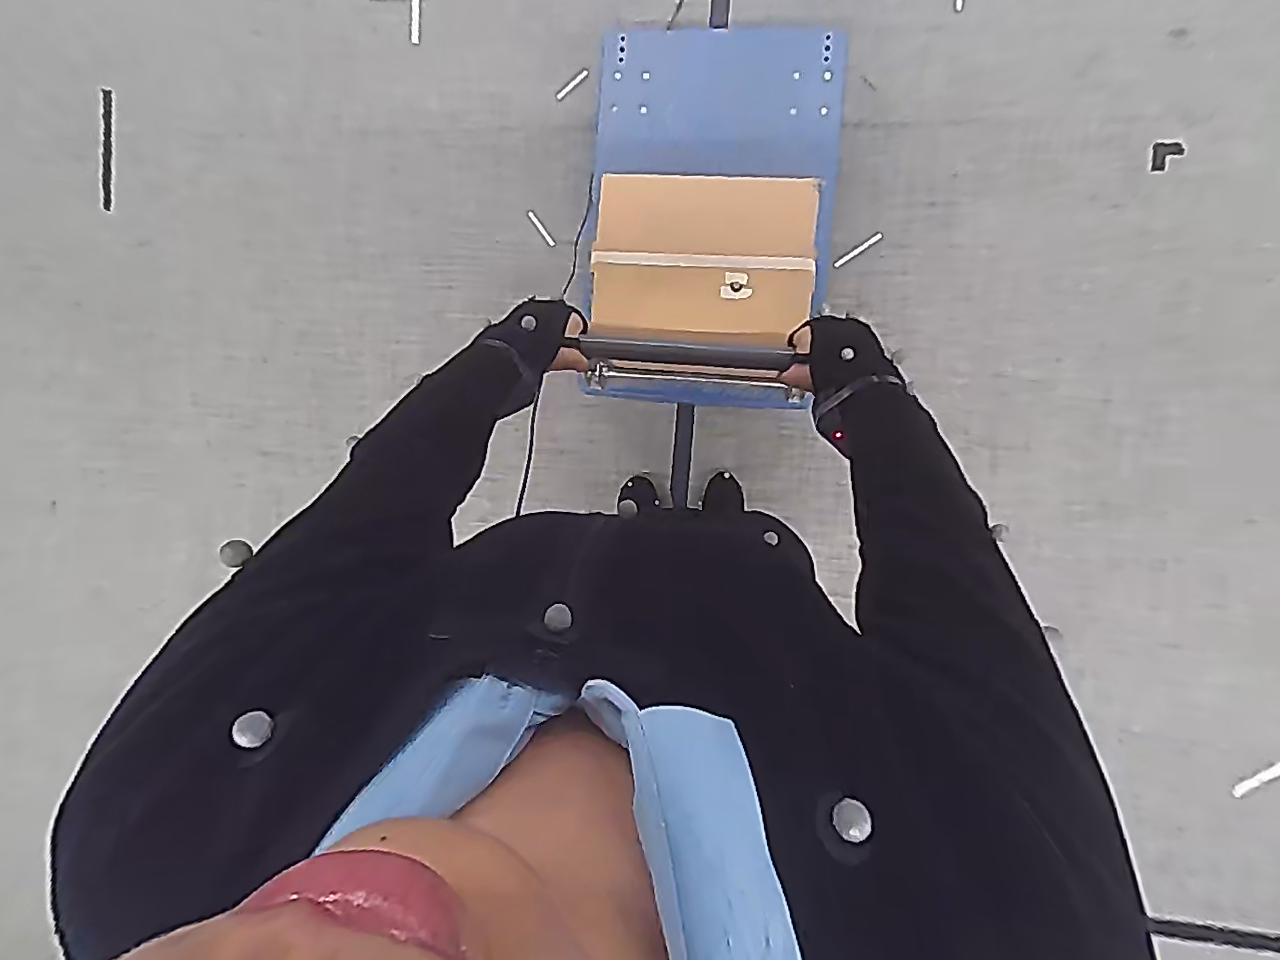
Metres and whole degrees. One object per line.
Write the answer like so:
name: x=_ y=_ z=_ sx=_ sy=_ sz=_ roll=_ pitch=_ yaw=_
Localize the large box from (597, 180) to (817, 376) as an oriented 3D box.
large box: x=0.134 y=-0.411 z=1.168 sx=0.408 sy=0.320 sz=0.320 roll=5 pitch=93 yaw=5
